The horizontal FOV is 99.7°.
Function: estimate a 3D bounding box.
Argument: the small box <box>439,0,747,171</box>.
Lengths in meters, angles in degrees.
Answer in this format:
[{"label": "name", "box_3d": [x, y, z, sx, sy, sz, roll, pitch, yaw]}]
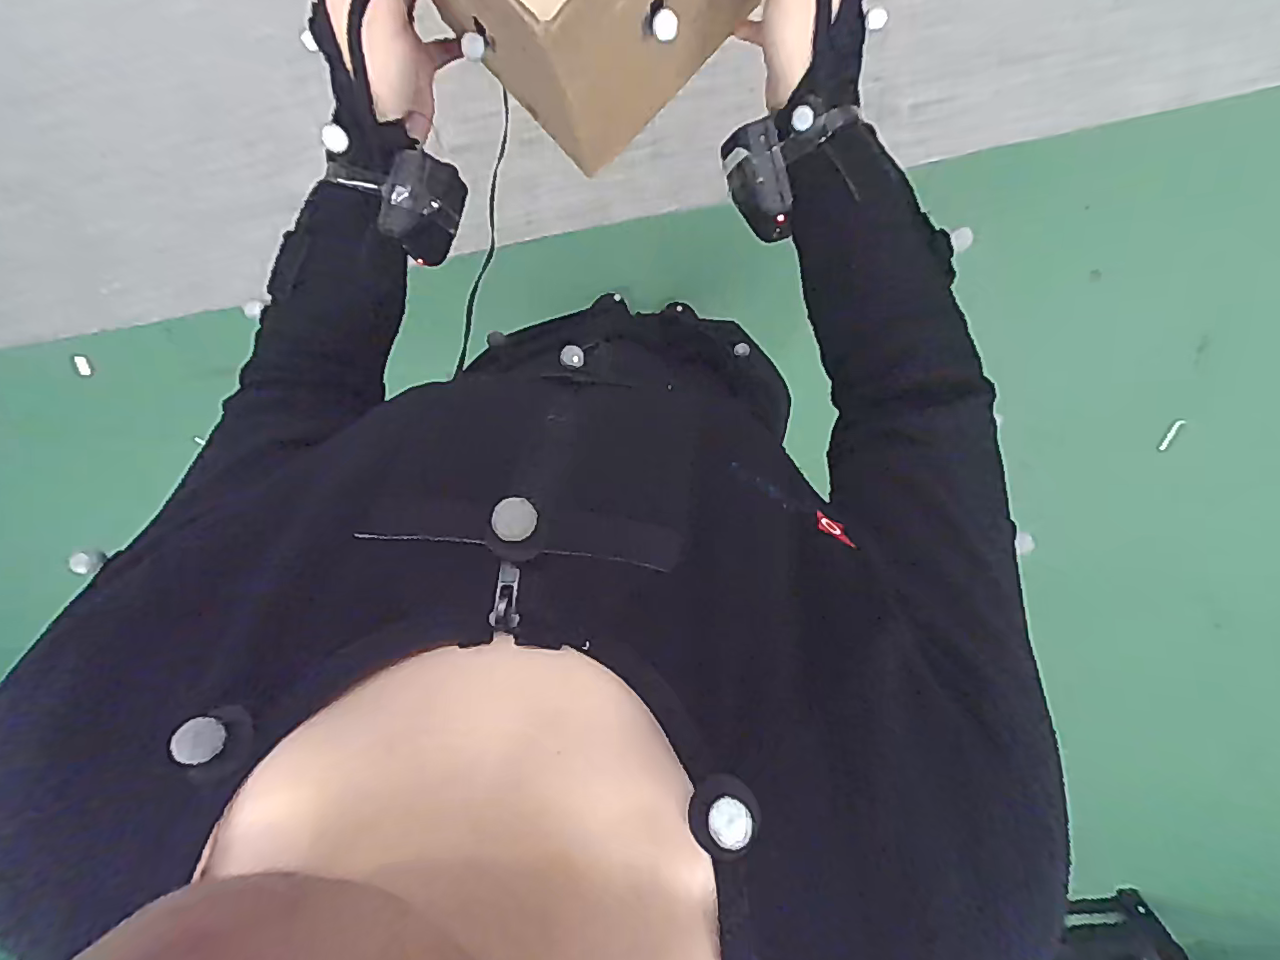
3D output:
[{"label": "small box", "box_3d": [-0.035, -0.336, 0.327, 0.179, 0.176, 0.168, -44, 93, 8]}]
